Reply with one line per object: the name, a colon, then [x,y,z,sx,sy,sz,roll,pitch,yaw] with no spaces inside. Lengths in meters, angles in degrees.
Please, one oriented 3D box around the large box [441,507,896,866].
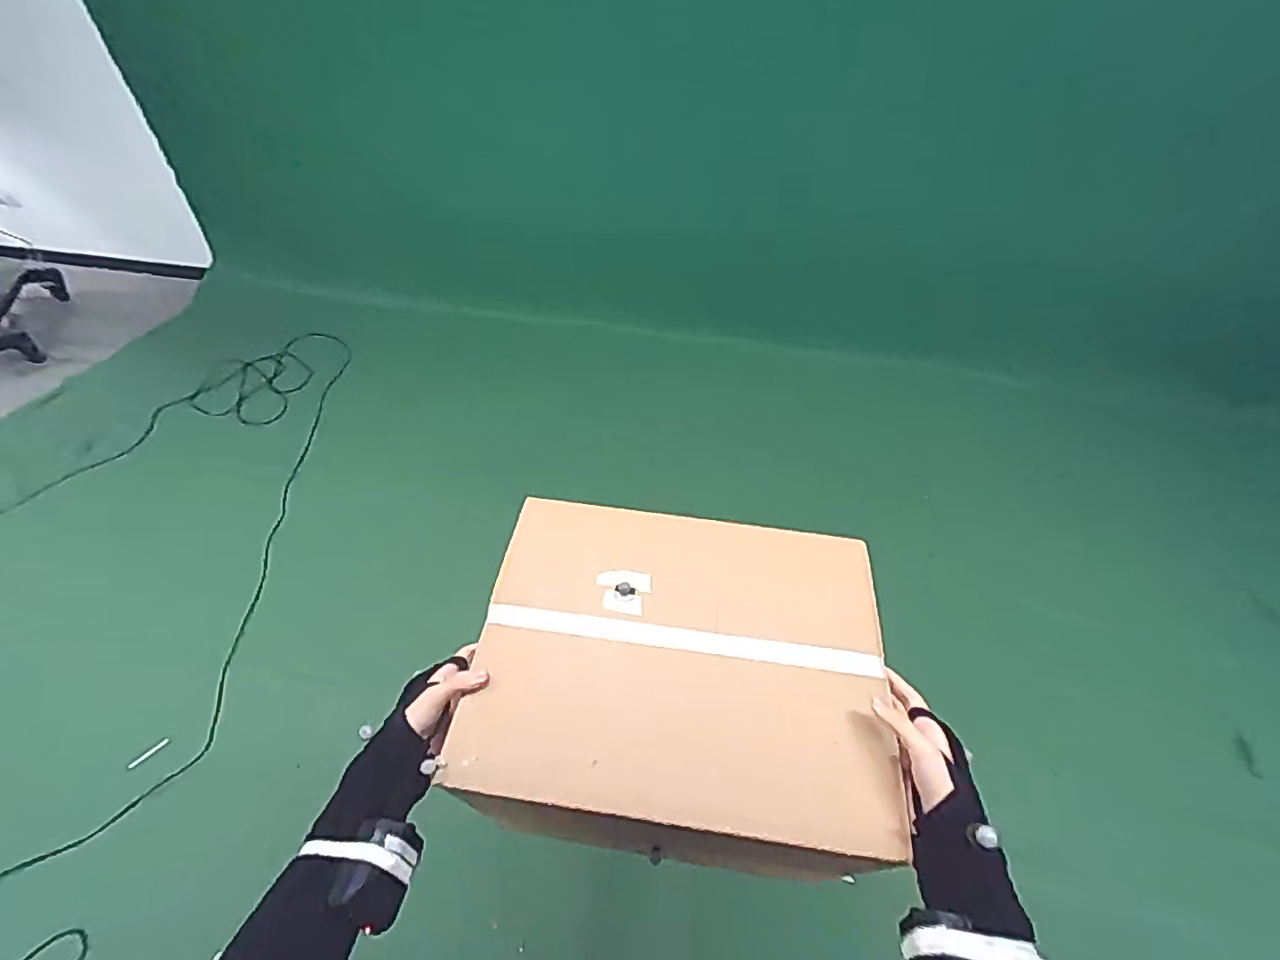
large box: [0.038,0.262,0.672,0.408,0.320,0.320,7,51,5]
